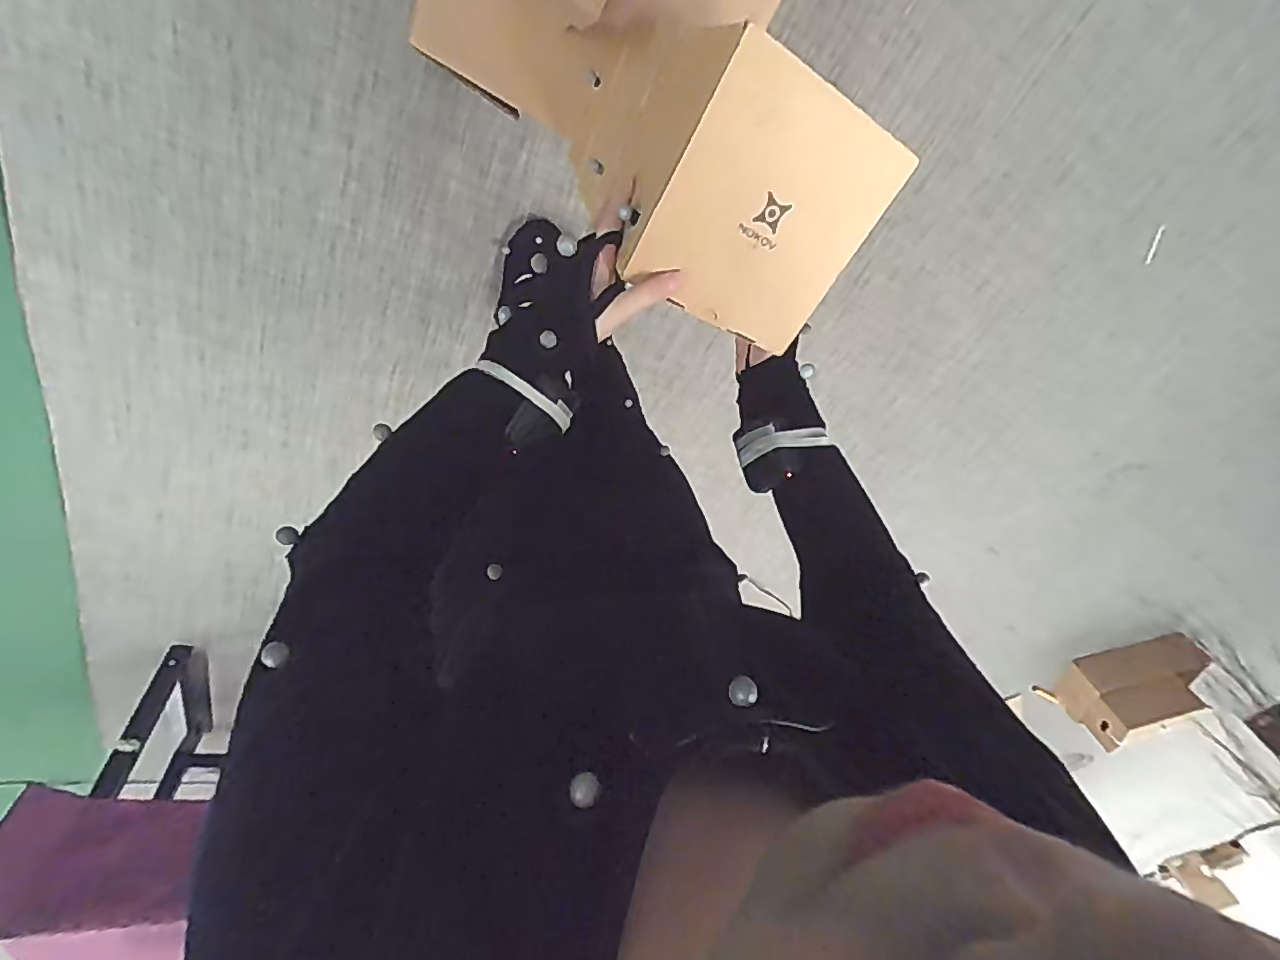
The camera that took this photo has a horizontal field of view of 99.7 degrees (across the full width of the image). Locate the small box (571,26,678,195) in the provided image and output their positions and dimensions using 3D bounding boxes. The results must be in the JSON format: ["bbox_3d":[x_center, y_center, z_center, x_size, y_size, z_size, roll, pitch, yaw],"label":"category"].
[{"bbox_3d":[0.023,-0.455,0.711,0.179,0.176,0.168,15,122,-24],"label":"small box"}]

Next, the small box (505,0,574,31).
[{"bbox_3d":[-0.117,-0.609,0.556,0.168,0.176,0.179,17,121,-24],"label":"small box"}]

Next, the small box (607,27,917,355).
[{"bbox_3d":[0.083,-0.246,0.468,0.168,0.176,0.179,17,124,-25],"label":"small box"}]
